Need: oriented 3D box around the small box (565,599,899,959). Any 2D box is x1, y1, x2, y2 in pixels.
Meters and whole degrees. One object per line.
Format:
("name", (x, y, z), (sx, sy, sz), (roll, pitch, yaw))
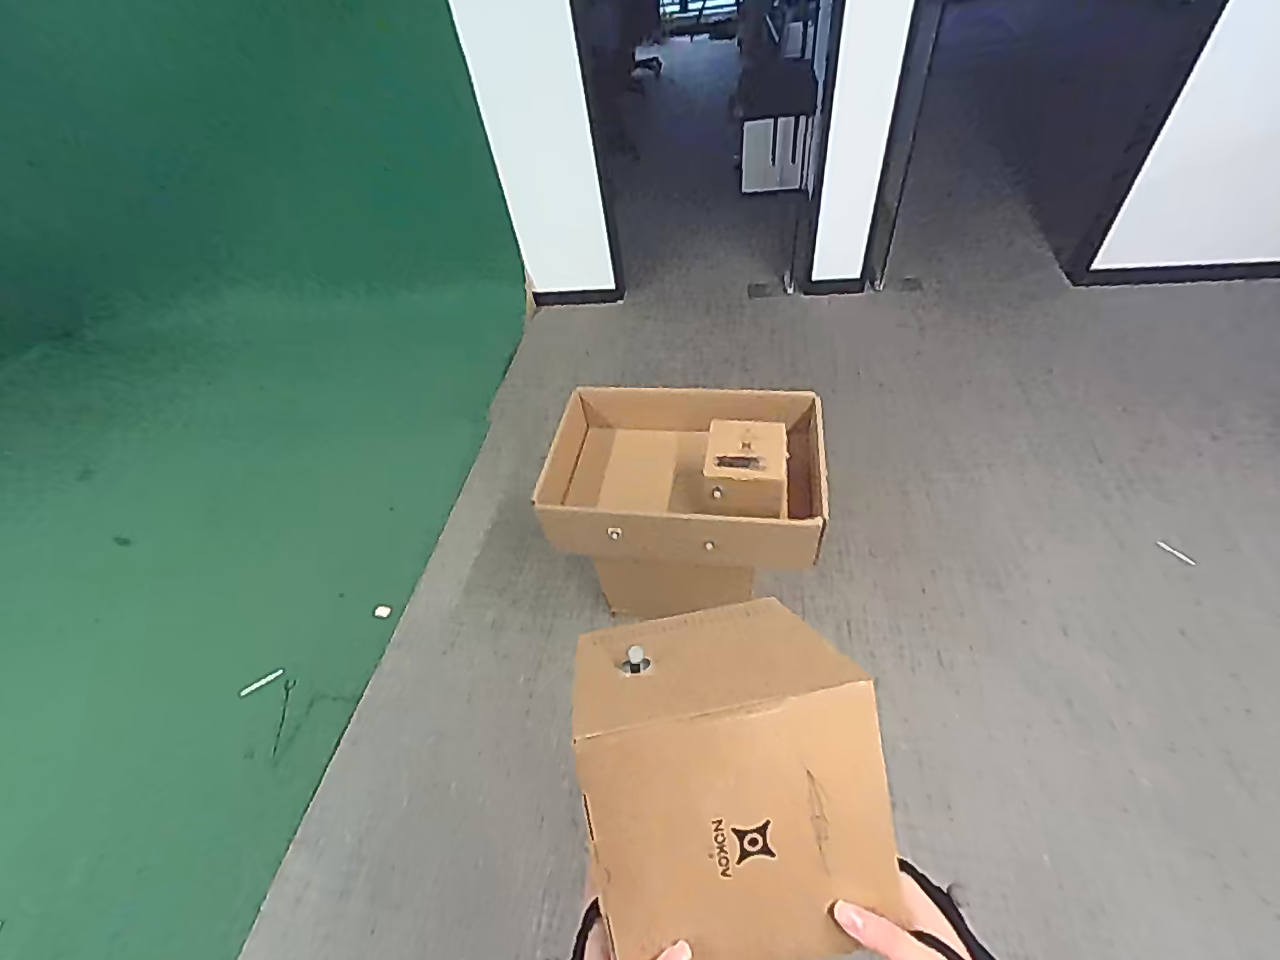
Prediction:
("small box", (0.050, 0.198, 0.388), (0.179, 0.168, 0.176), (-10, 5, -5))
